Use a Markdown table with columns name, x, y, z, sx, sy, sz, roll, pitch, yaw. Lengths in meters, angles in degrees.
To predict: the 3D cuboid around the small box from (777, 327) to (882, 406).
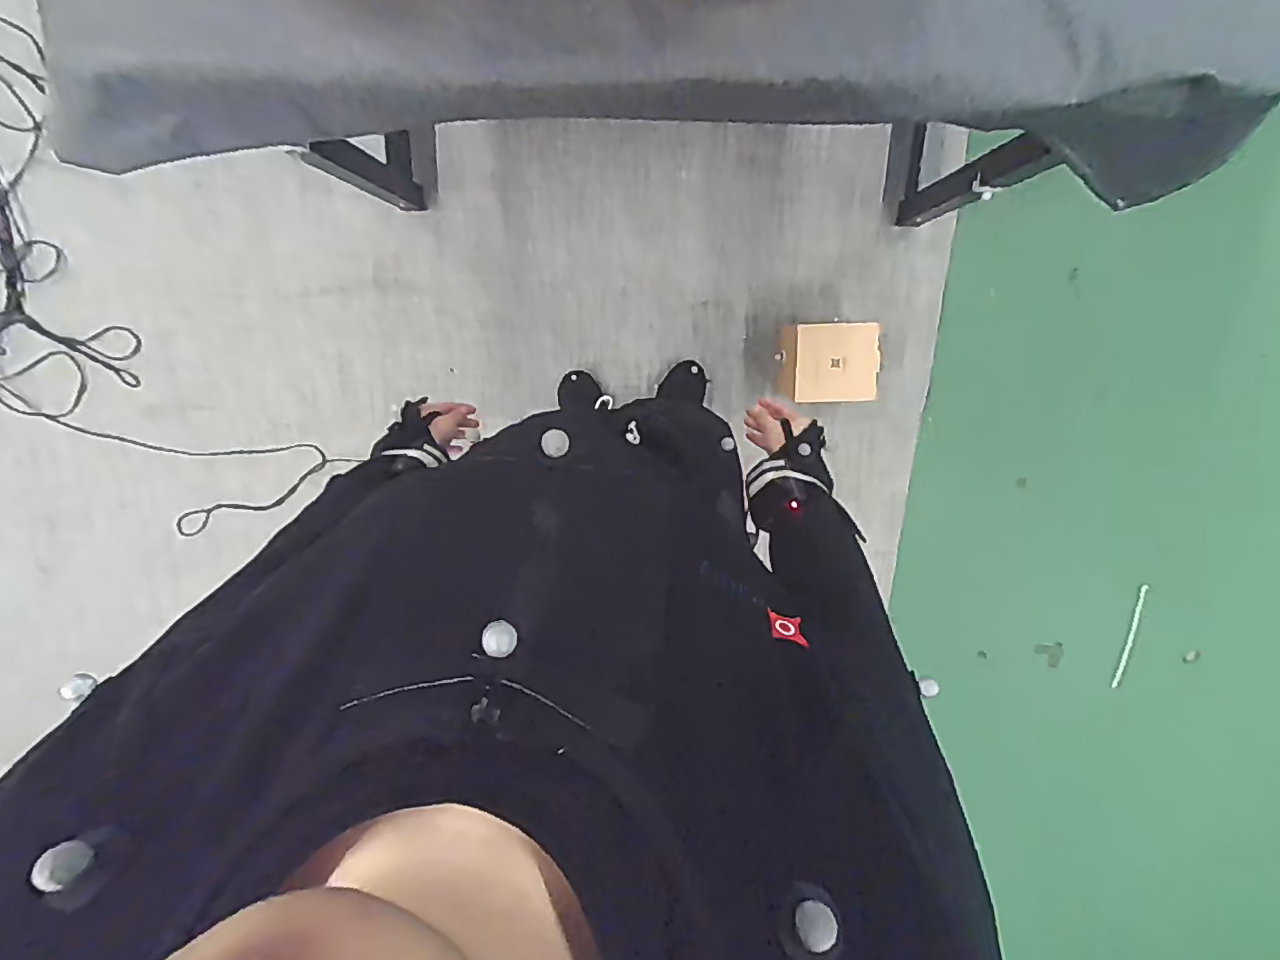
| name | x | y | z | sx | sy | sz | roll | pitch | yaw |
| --- | --- | --- | --- | --- | --- | --- | --- | --- | --- |
| small box | 0.420 | -0.259 | 1.221 | 0.179 | 0.176 | 0.168 | -1 | 104 | 2 |
